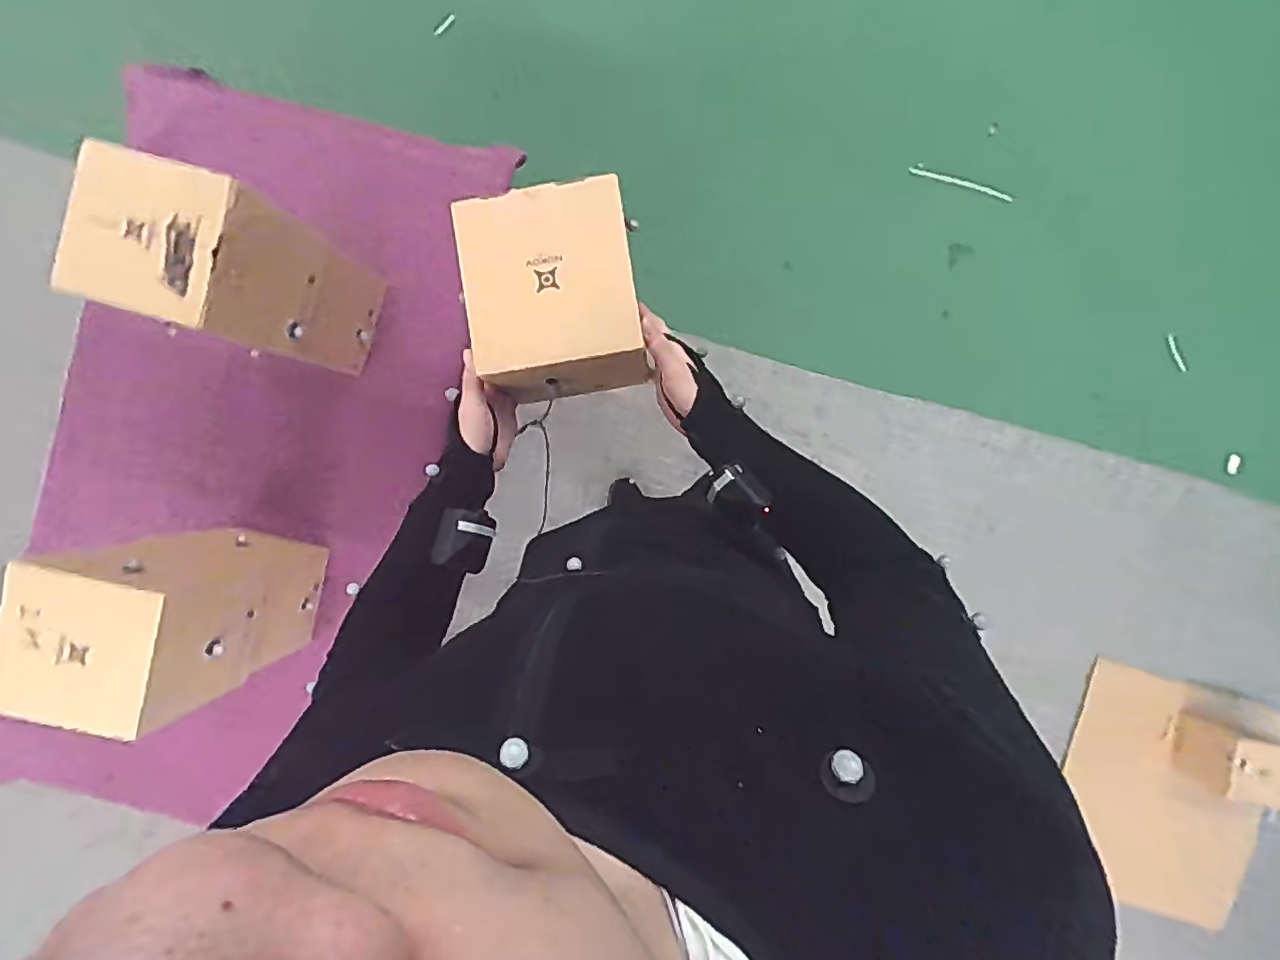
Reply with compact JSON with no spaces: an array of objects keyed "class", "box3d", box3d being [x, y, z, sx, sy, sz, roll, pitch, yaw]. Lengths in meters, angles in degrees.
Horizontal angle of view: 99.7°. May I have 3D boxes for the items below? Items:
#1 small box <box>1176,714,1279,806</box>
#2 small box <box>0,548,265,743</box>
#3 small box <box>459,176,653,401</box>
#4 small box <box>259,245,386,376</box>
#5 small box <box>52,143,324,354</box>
[{"class":"small box","box3d":[1.687,0.782,1.519,0.179,0.176,0.168,9,91,0]},{"class":"small box","box3d":[-0.609,0.187,0.663,0.179,0.176,0.168,13,90,0]},{"class":"small box","box3d":[-0.079,-0.190,0.594,0.168,0.176,0.179,-9,87,2]},{"class":"small box","box3d":[-0.525,-0.266,0.820,0.179,0.176,0.168,16,93,1]},{"class":"small box","box3d":[-0.527,-0.261,0.656,0.179,0.176,0.168,16,93,3]}]
